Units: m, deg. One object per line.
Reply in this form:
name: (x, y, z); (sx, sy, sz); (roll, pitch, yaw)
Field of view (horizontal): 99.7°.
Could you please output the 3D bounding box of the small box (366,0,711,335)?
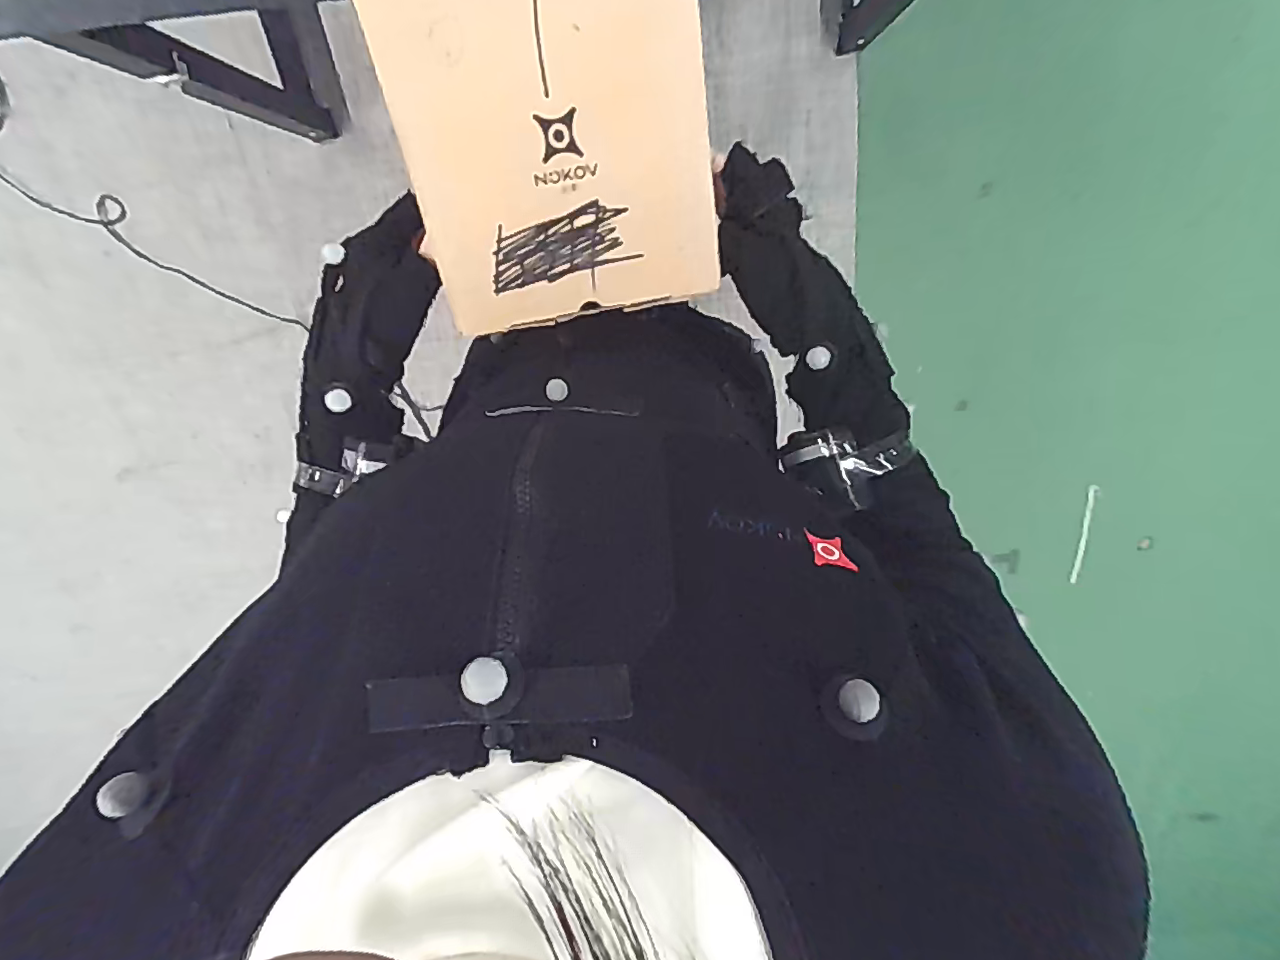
small box: (-0.051, -0.217, 0.372); (0.168, 0.176, 0.179); (-10, 119, -2)
